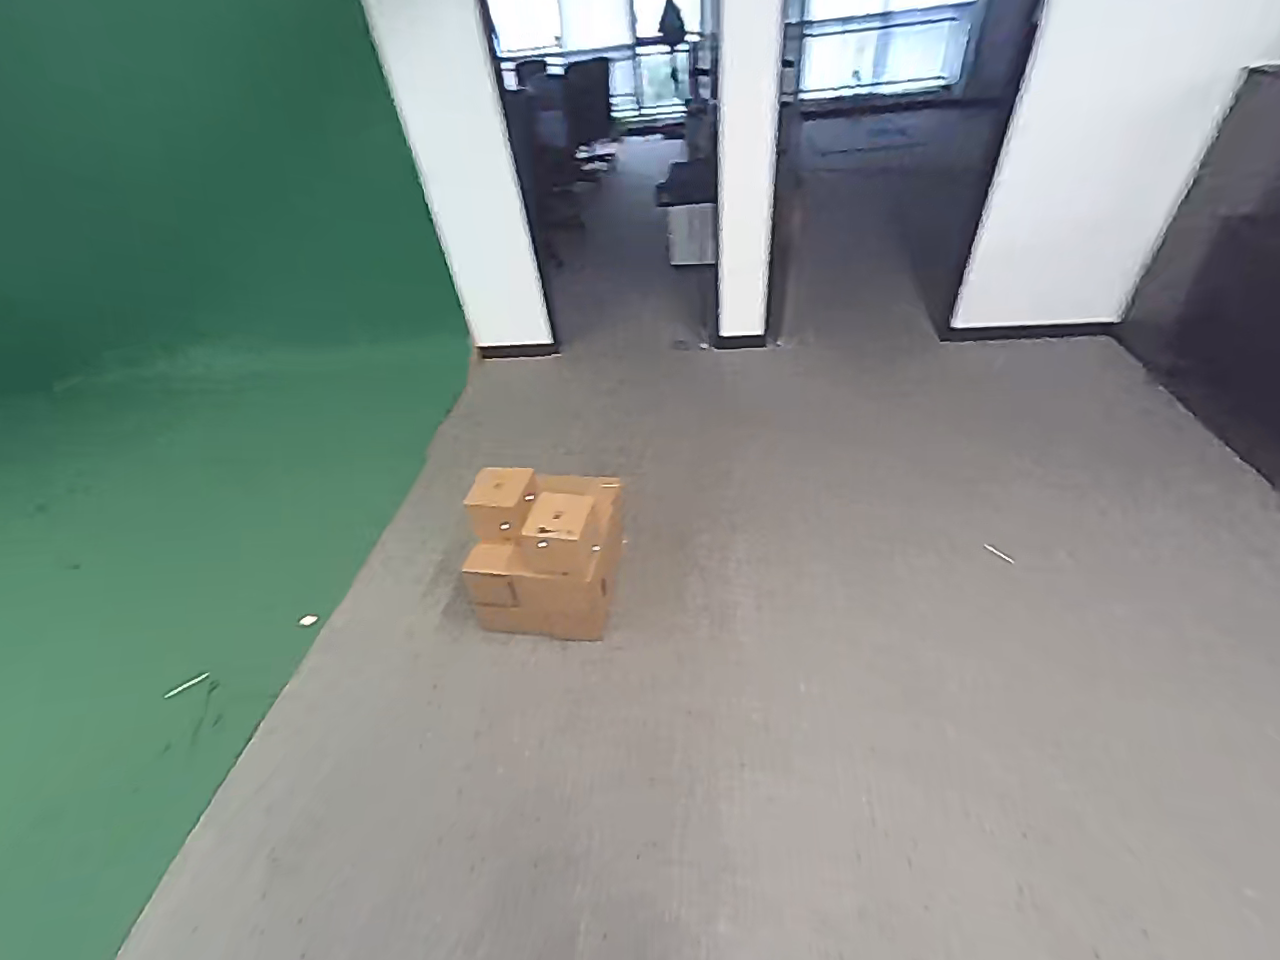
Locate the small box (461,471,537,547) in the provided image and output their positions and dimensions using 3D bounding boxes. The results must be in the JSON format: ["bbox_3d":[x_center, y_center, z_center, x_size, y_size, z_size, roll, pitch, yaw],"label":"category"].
[{"bbox_3d":[-0.422,0.090,1.672,0.168,0.176,0.179,2,39,11],"label":"small box"}]

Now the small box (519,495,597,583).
[{"bbox_3d":[-0.225,0.166,1.547,0.168,0.176,0.179,4,40,12],"label":"small box"}]
